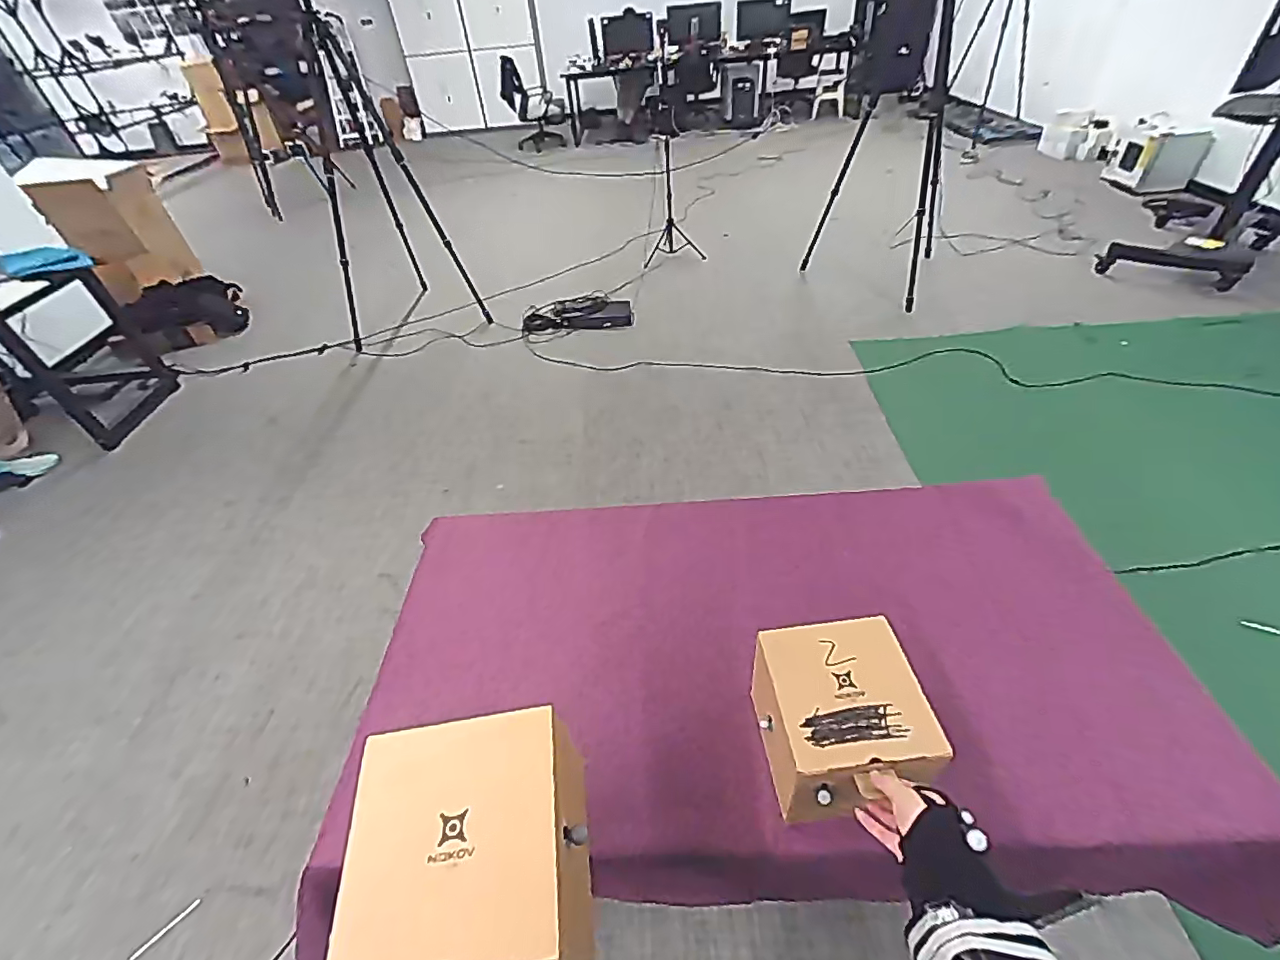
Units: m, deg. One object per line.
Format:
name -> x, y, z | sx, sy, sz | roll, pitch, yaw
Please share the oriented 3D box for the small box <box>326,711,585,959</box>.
small box -> -0.145, 0.335, 0.487 | 0.168, 0.176, 0.179 | -9, 49, -2
